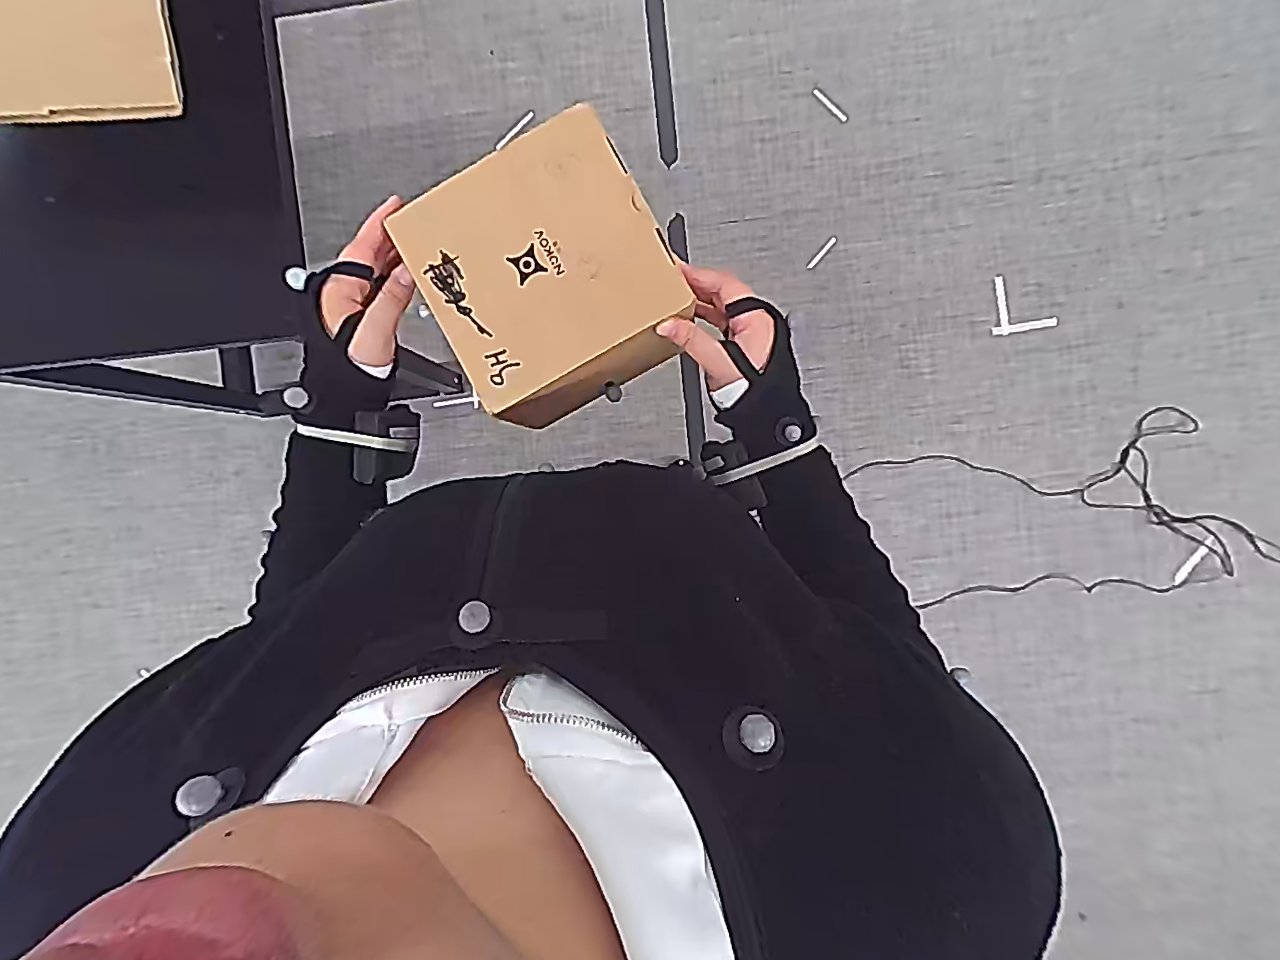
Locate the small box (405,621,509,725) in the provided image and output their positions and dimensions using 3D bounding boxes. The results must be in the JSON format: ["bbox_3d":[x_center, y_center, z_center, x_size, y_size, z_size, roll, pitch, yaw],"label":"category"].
[{"bbox_3d":[-0.421,0.446,1.279,0.179,0.176,0.168,-13,91,2],"label":"small box"}]

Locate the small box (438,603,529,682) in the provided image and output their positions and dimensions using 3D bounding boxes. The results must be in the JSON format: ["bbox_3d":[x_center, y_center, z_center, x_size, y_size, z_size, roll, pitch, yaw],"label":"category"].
[{"bbox_3d":[-0.411,0.440,1.442,0.179,0.176,0.168,-10,91,1],"label":"small box"}]
